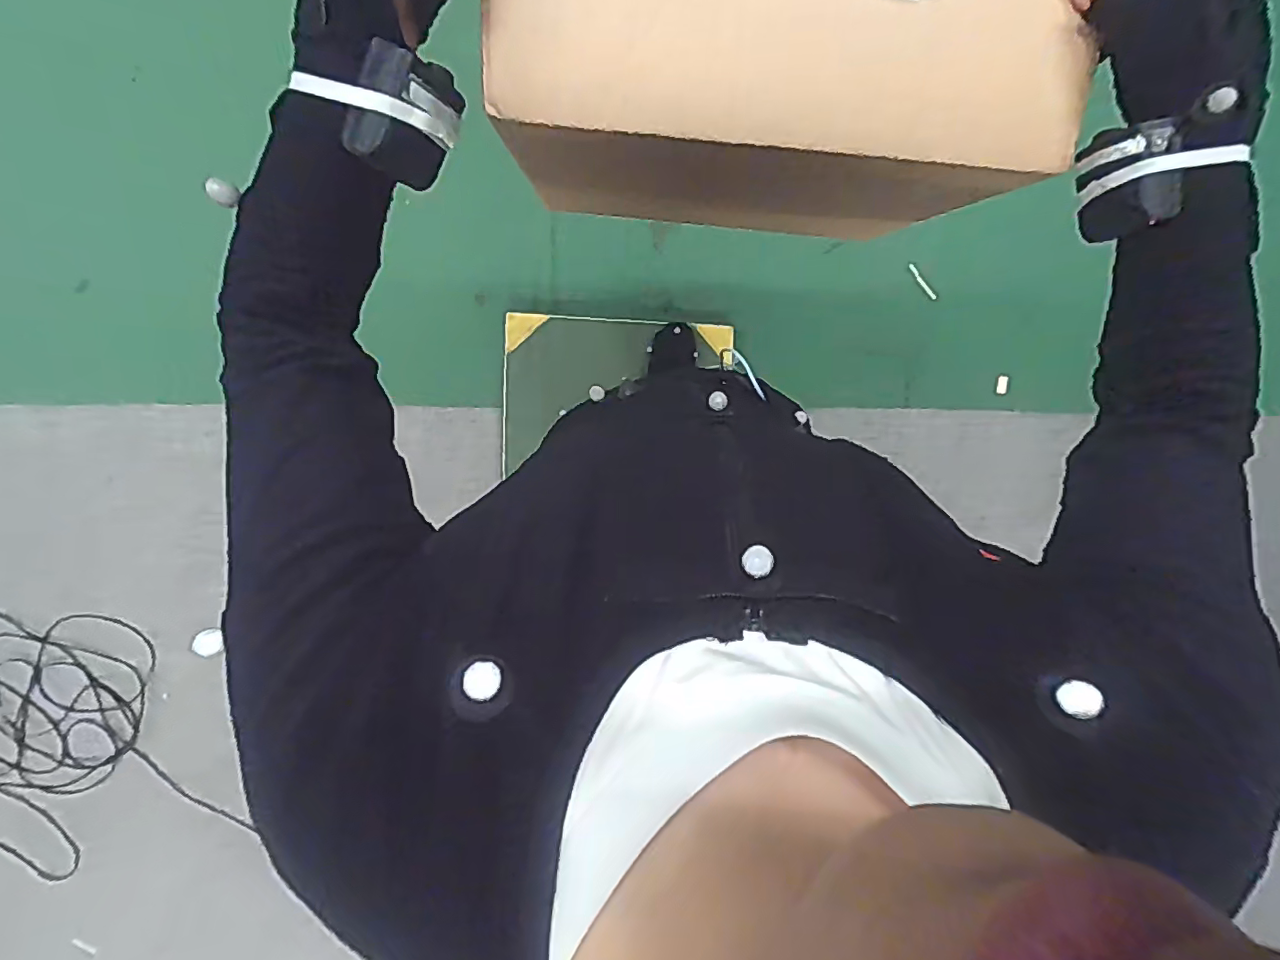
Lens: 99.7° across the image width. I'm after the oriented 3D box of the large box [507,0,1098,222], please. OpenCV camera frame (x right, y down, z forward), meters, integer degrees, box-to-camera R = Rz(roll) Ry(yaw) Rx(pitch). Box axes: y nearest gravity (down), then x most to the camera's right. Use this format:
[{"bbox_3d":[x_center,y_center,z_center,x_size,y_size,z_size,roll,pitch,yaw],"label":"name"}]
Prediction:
[{"bbox_3d":[0.106,-0.432,0.479,0.408,0.320,0.320,3,107,-4],"label":"large box"}]
